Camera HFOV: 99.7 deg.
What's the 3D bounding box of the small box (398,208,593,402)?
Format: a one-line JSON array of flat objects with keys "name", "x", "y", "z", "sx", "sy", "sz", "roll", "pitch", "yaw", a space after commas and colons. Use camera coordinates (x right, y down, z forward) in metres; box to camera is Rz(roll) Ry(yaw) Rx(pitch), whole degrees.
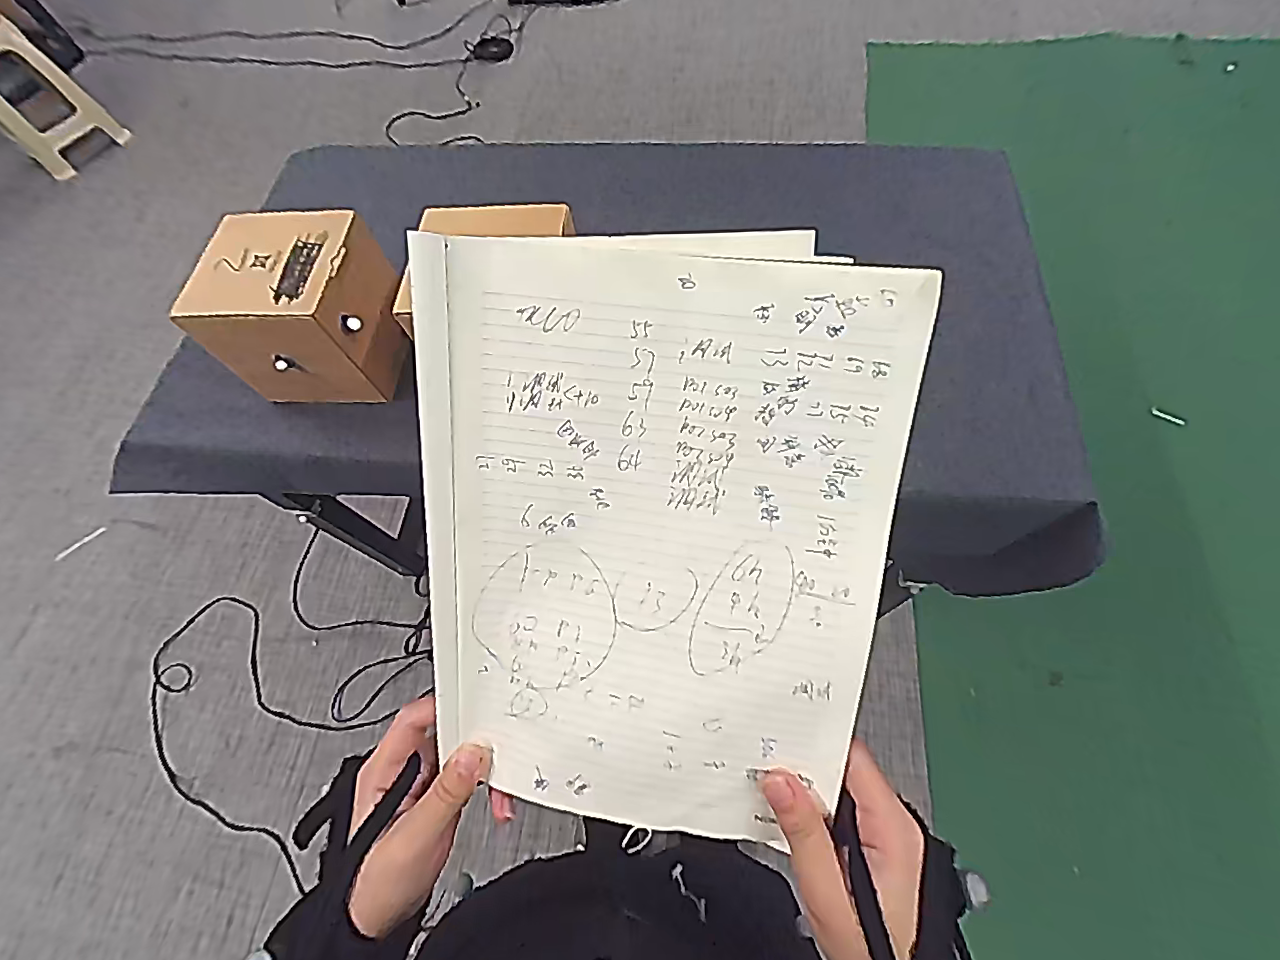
[{"name": "small box", "x": -0.164, "y": -0.210, "z": 0.676, "sx": 0.179, "sy": 0.176, "sz": 0.168, "roll": 0, "pitch": 64, "yaw": 5}]
